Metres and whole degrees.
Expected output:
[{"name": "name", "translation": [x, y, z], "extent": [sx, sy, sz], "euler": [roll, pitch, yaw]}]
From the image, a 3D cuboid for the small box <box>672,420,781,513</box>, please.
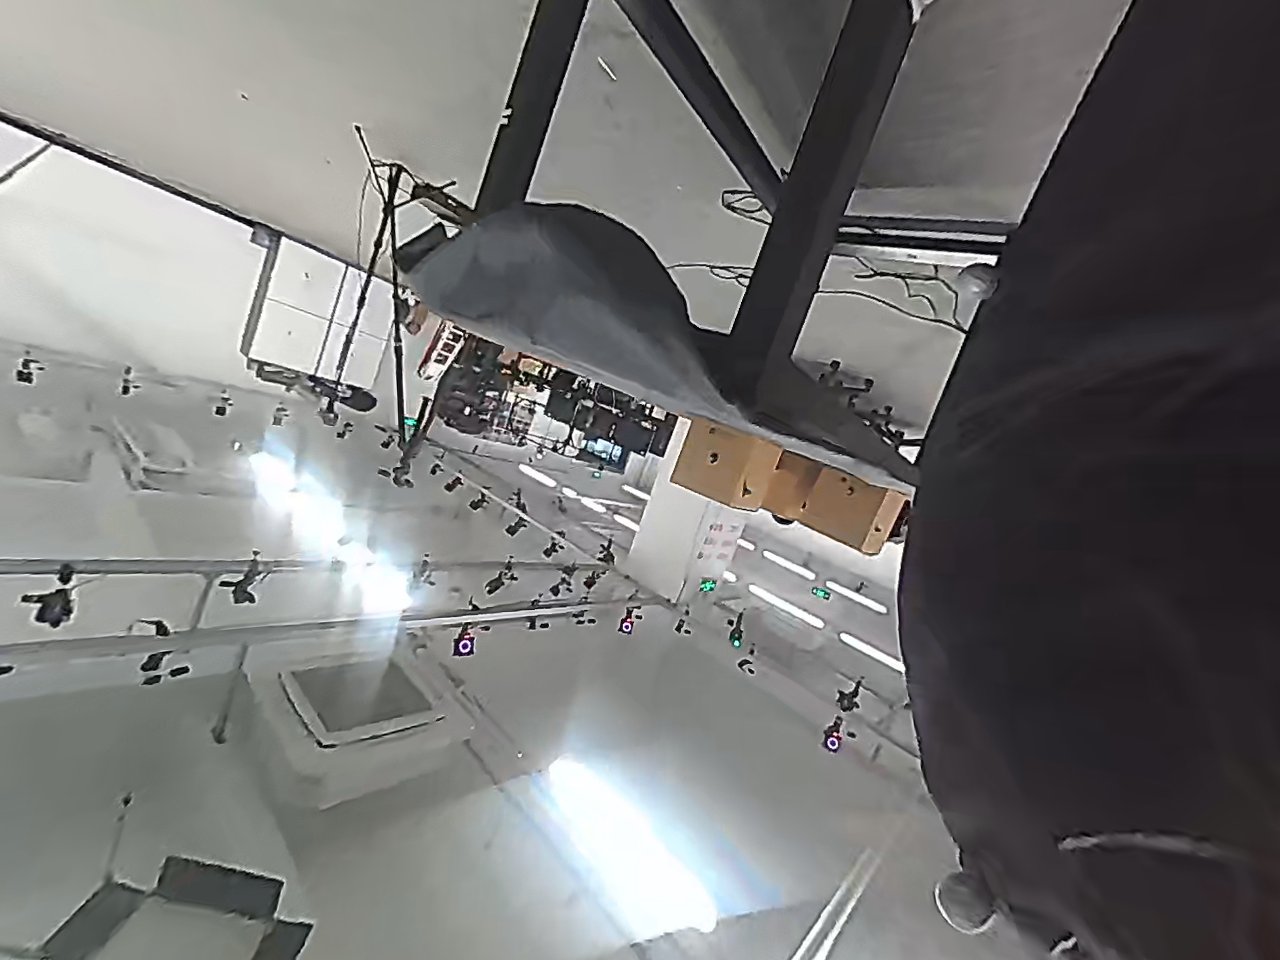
[{"name": "small box", "translation": [0.207, -0.033, 1.274], "extent": [0.168, 0.176, 0.179], "euler": [24, -173, 33]}]
